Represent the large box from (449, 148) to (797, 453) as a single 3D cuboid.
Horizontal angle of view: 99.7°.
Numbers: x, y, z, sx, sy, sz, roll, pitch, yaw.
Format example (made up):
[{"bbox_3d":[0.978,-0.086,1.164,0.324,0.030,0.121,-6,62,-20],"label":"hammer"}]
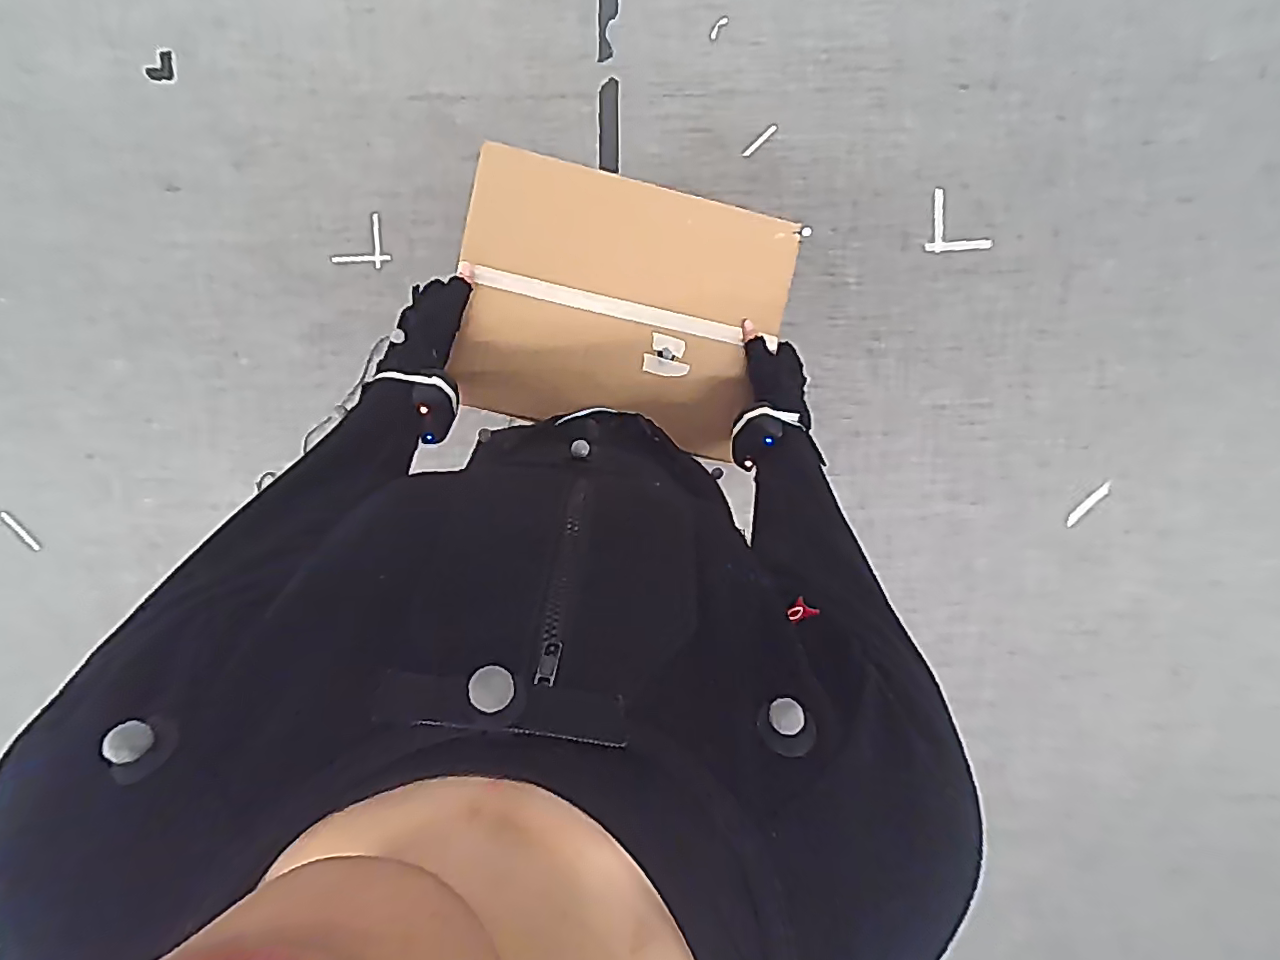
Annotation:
[{"bbox_3d":[-0.035,-0.231,0.834,0.408,0.320,0.320,12,94,-7],"label":"large box"}]
